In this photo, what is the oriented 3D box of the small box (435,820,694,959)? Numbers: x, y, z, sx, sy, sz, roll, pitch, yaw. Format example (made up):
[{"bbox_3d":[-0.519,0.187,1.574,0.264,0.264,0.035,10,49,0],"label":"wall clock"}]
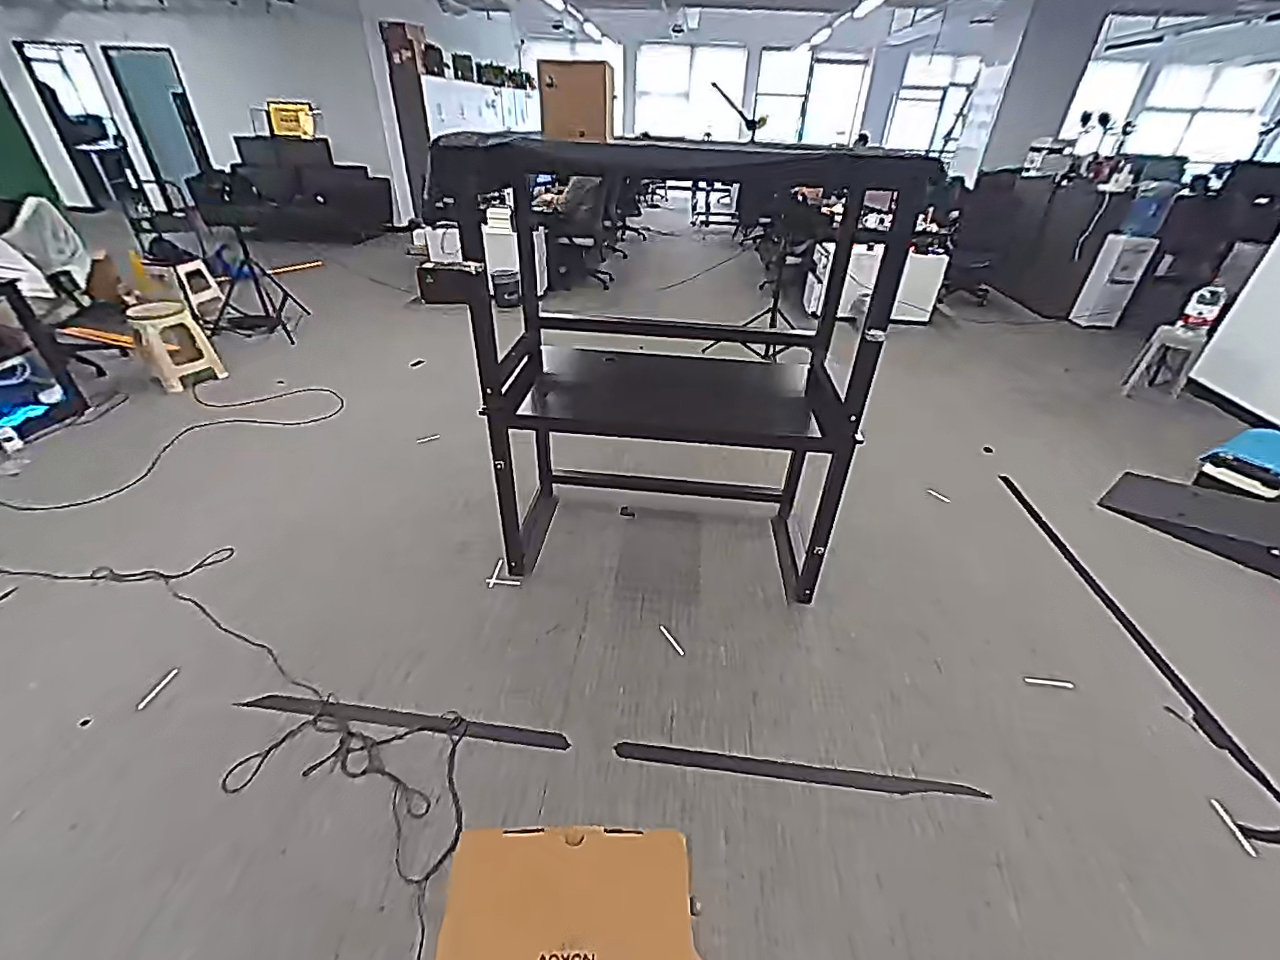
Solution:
[{"bbox_3d":[-0.051,0.370,0.383,0.168,0.176,0.179,3,38,-4],"label":"small box"}]
